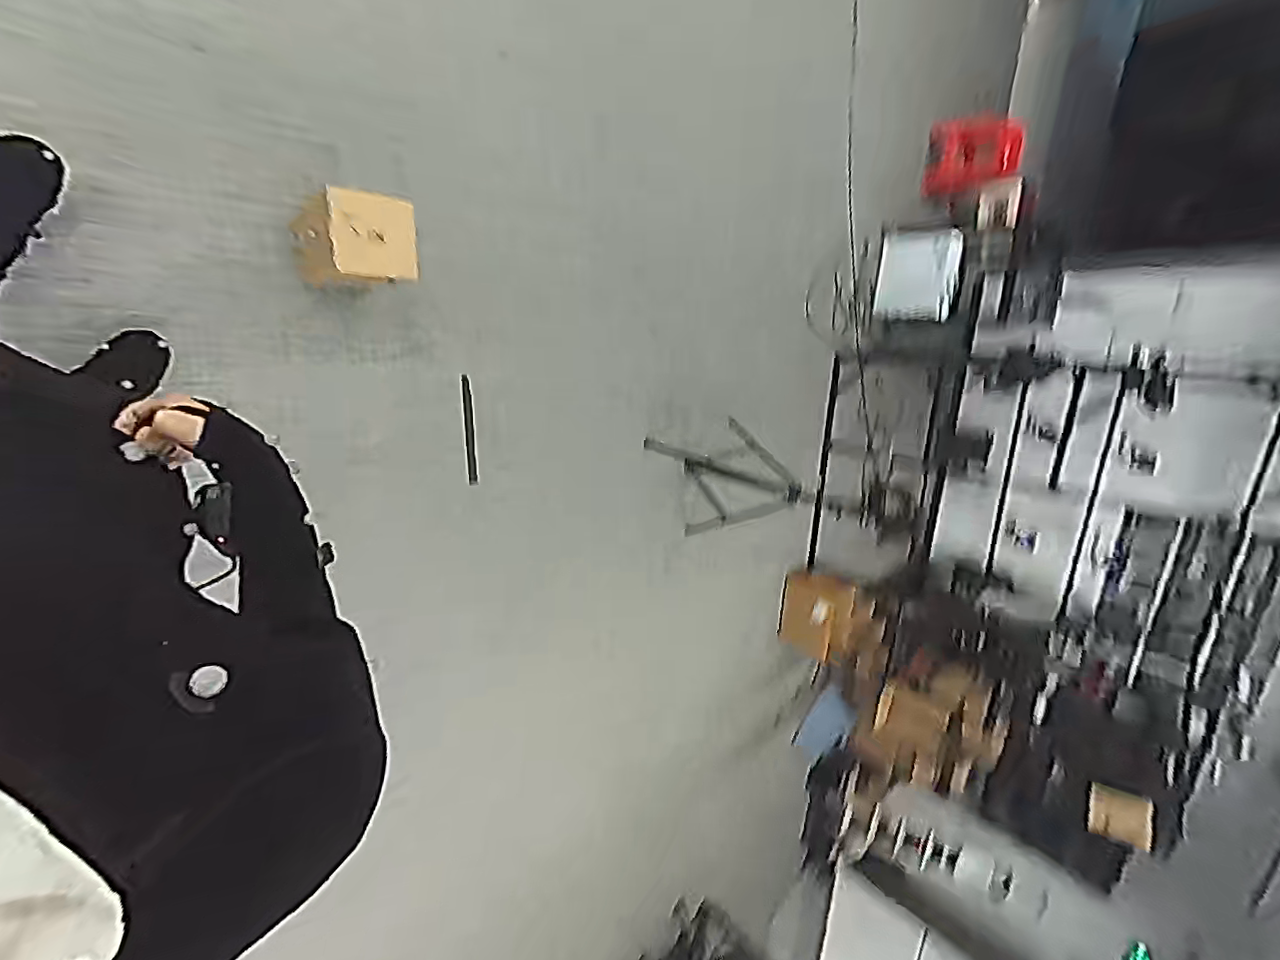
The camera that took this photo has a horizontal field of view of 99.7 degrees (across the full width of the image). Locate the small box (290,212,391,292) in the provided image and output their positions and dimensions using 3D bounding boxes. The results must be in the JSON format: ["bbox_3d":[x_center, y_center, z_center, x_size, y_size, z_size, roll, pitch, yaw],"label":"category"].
[{"bbox_3d":[-0.741,-0.563,1.338,0.179,0.176,0.168,-10,108,-44],"label":"small box"}]

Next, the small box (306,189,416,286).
[{"bbox_3d":[-0.629,-0.536,1.221,0.179,0.176,0.168,-10,108,-42],"label":"small box"}]
